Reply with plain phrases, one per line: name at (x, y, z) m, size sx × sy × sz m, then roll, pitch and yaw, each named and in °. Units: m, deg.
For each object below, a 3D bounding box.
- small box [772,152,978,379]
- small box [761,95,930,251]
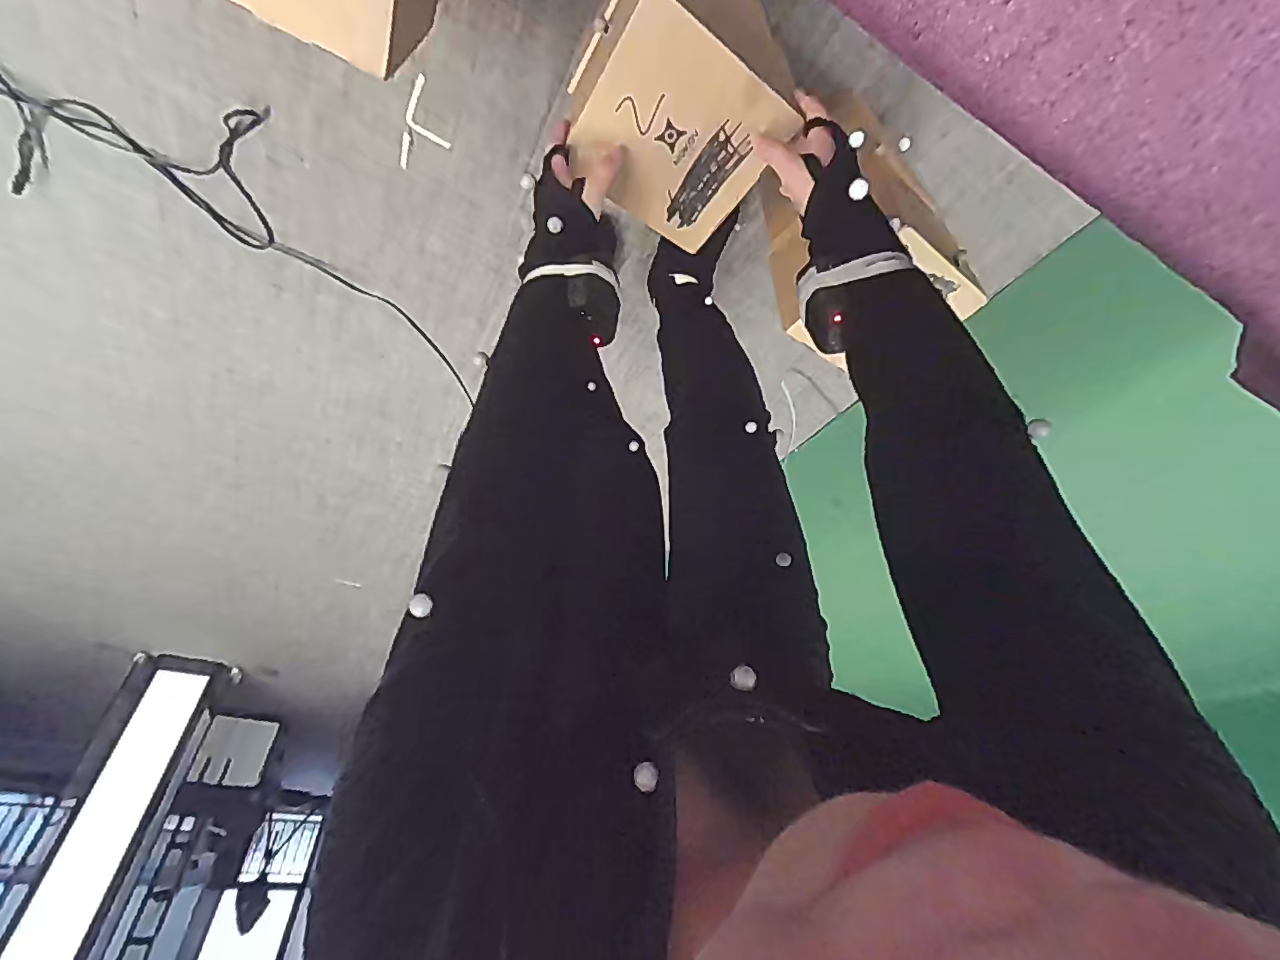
small box at (0.290, -0.272, 0.704) m, size 0.168 × 0.176 × 0.179 m, roll 22°, pitch 141°, yaw -28°
small box at (0.294, -0.409, 0.797) m, size 0.168 × 0.176 × 0.179 m, roll 26°, pitch 136°, yaw -30°
